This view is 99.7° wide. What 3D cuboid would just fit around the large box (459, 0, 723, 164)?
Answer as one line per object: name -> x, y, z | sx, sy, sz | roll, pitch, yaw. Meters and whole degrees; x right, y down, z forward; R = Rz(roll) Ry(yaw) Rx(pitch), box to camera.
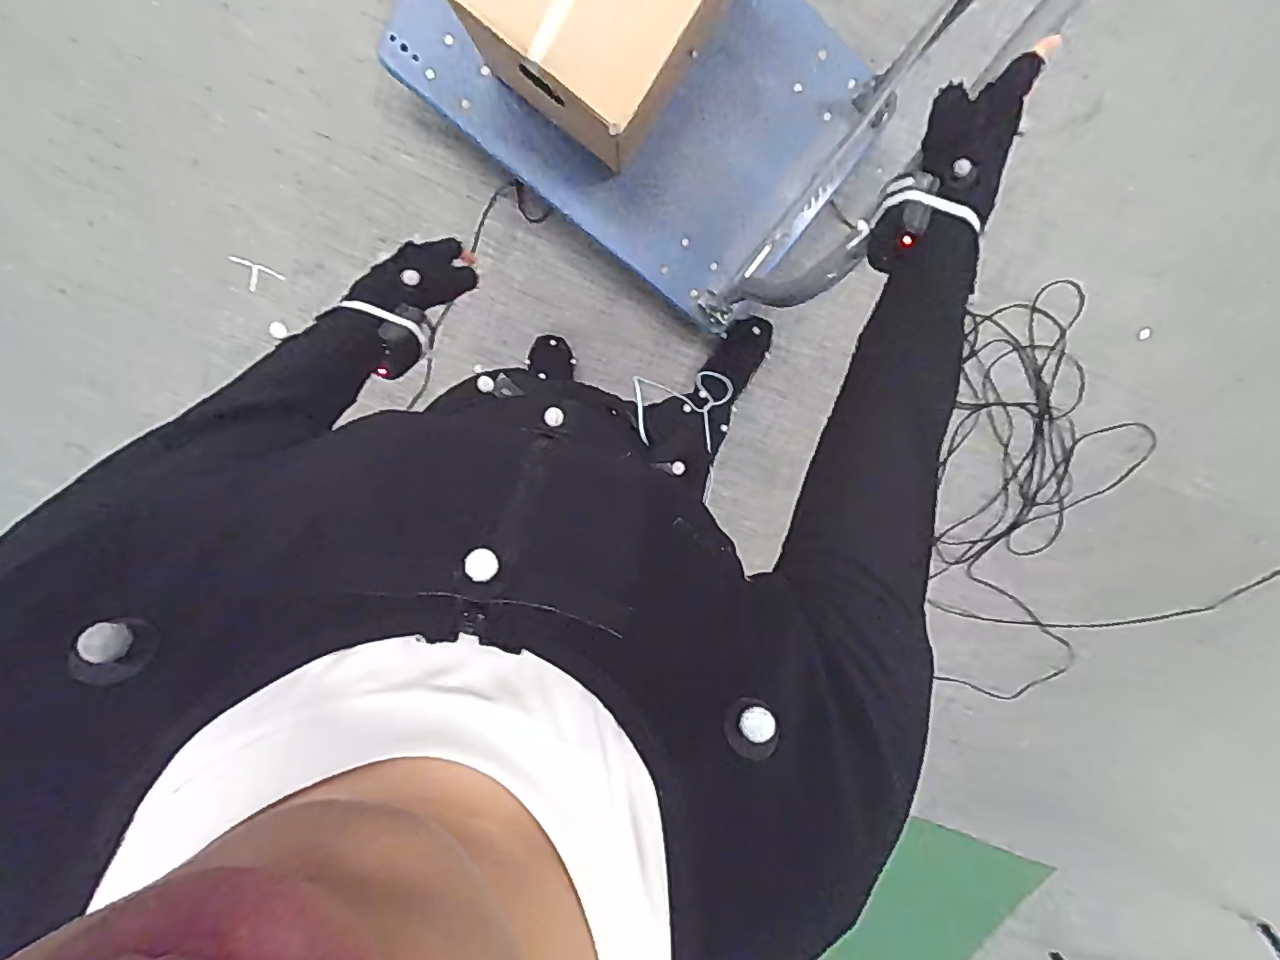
large box -> -0.039, -0.822, 0.879 | 0.320, 0.320, 0.408 | 33, 106, -13
